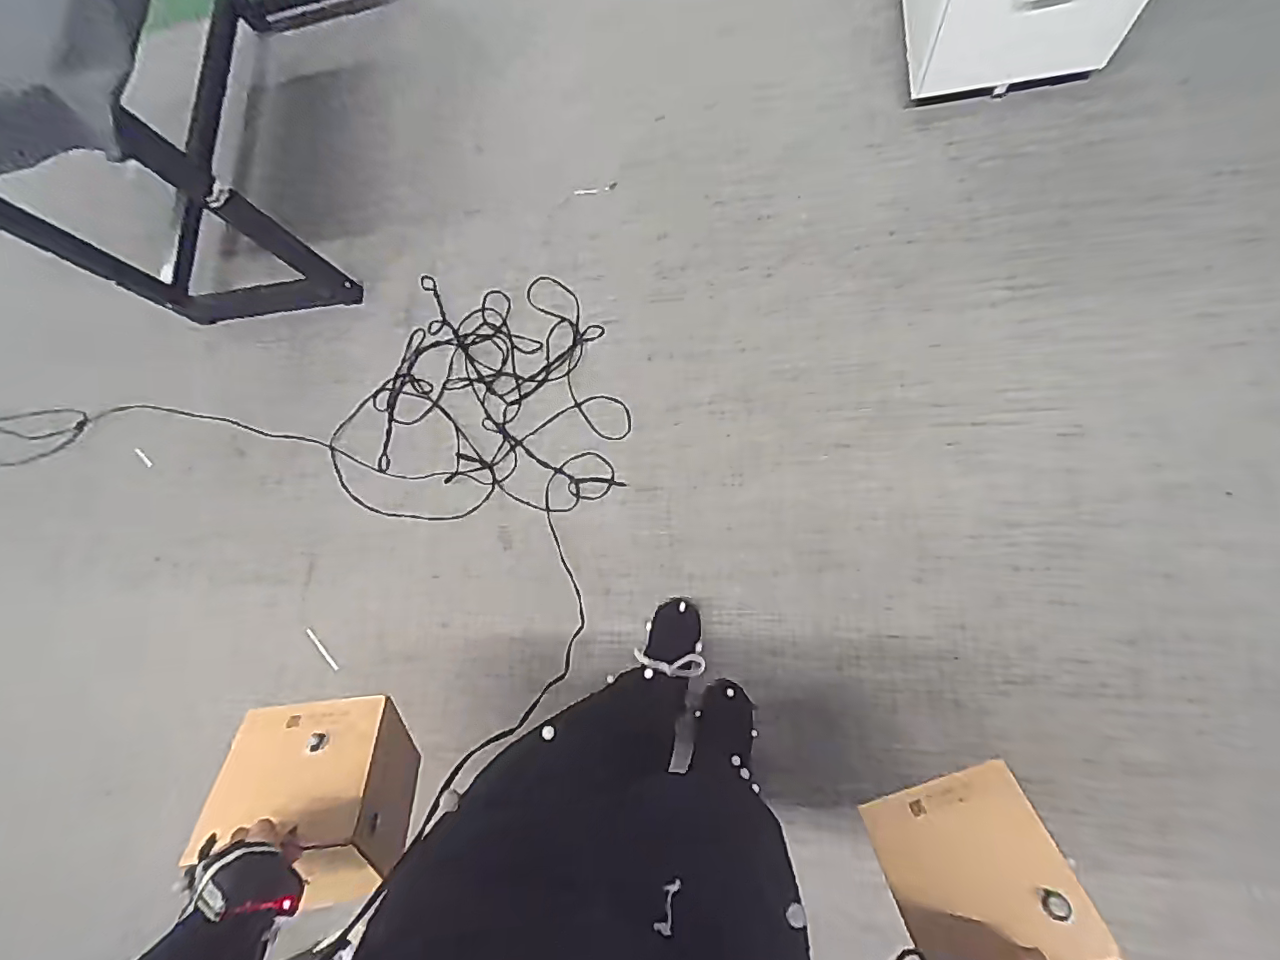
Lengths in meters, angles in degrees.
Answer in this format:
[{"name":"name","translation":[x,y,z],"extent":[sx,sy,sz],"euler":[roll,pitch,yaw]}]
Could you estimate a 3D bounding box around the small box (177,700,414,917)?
[{"name":"small box","translation":[-0.388,0.392,0.655],"extent":[0.168,0.179,0.176],"euler":[-4,38,-7]}]
